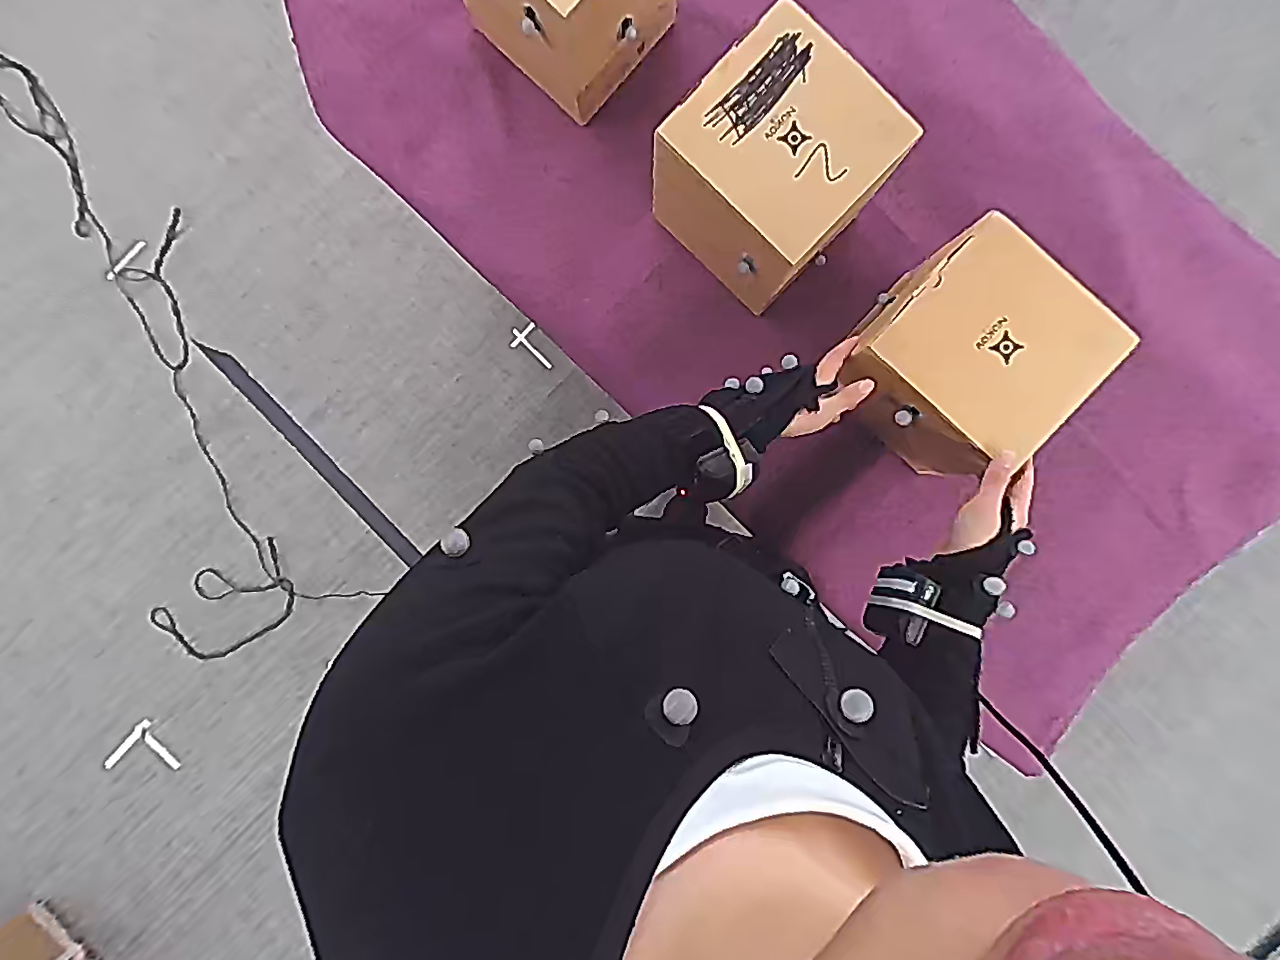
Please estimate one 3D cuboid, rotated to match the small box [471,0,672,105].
[{"bbox_3d":[-0.074,-0.536,0.555,0.179,0.176,0.168,42,92,-2],"label":"small box"}]
